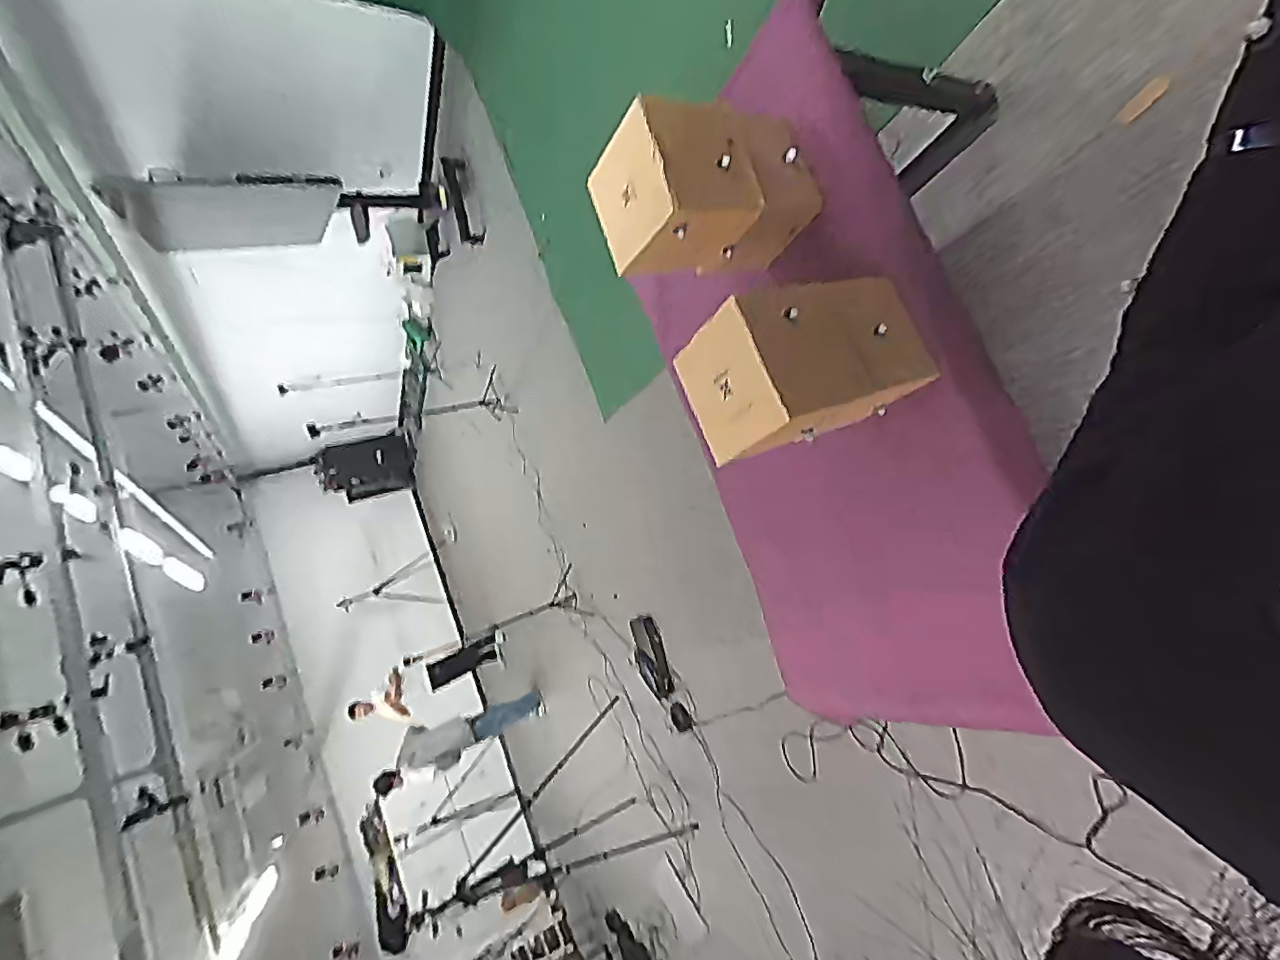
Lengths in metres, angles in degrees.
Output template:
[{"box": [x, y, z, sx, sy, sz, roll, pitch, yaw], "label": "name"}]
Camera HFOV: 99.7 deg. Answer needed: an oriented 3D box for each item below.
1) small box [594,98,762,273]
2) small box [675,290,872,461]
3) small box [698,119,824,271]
[{"box": [0.055, -0.439, 0.835, 0.179, 0.176, 0.168, -23, 84, 60], "label": "small box"}, {"box": [0.182, -0.148, 0.756, 0.168, 0.176, 0.179, -38, 71, 60], "label": "small box"}, {"box": [0.179, -0.485, 0.933, 0.168, 0.176, 0.179, -39, 70, 60], "label": "small box"}]
